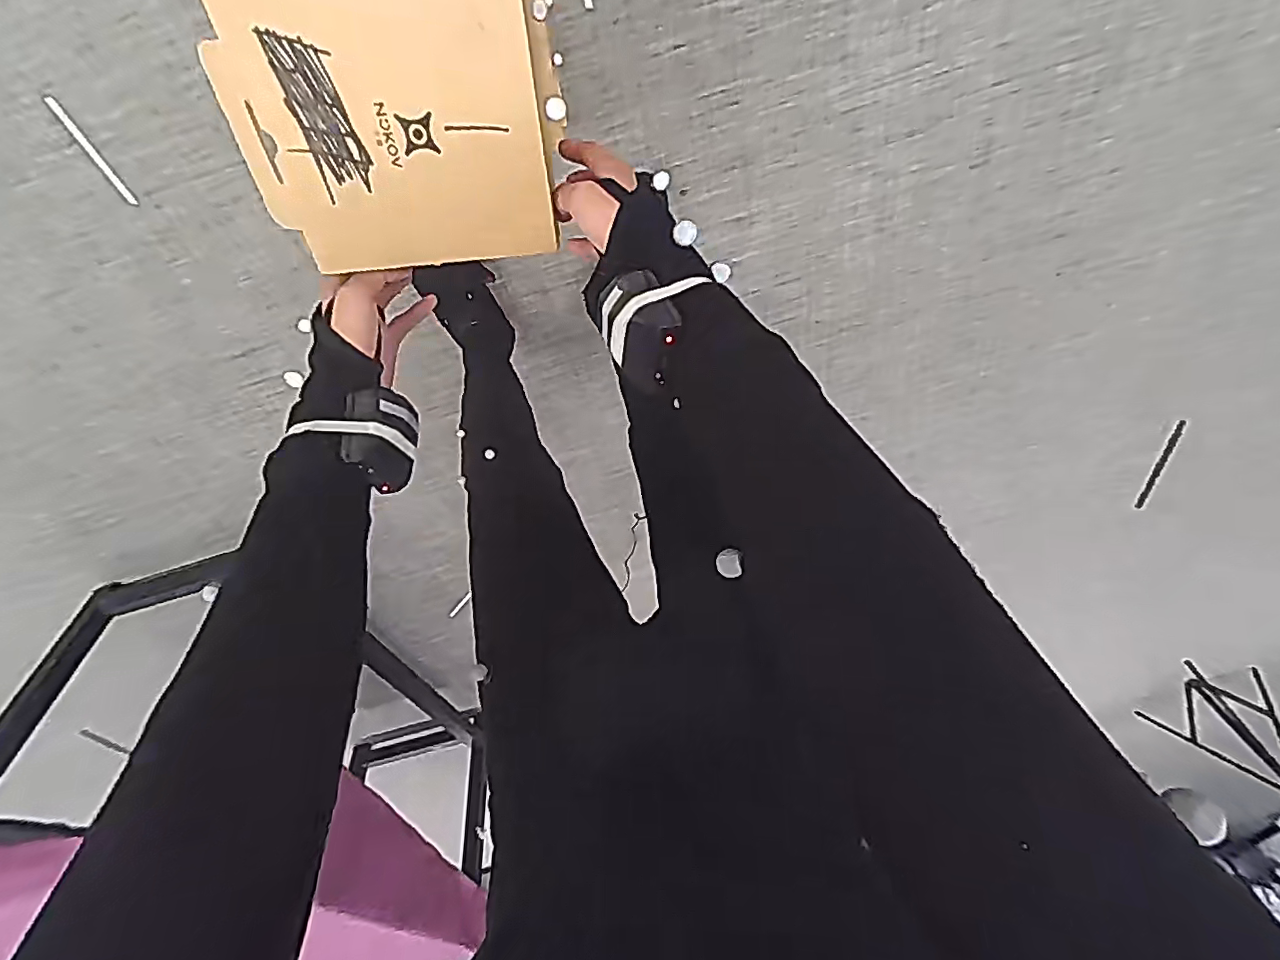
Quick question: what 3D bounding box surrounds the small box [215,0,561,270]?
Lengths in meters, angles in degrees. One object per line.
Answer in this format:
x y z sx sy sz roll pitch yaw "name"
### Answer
-0.155 -0.273 0.406 0.179 0.176 0.168 -7 131 -4 "small box"
